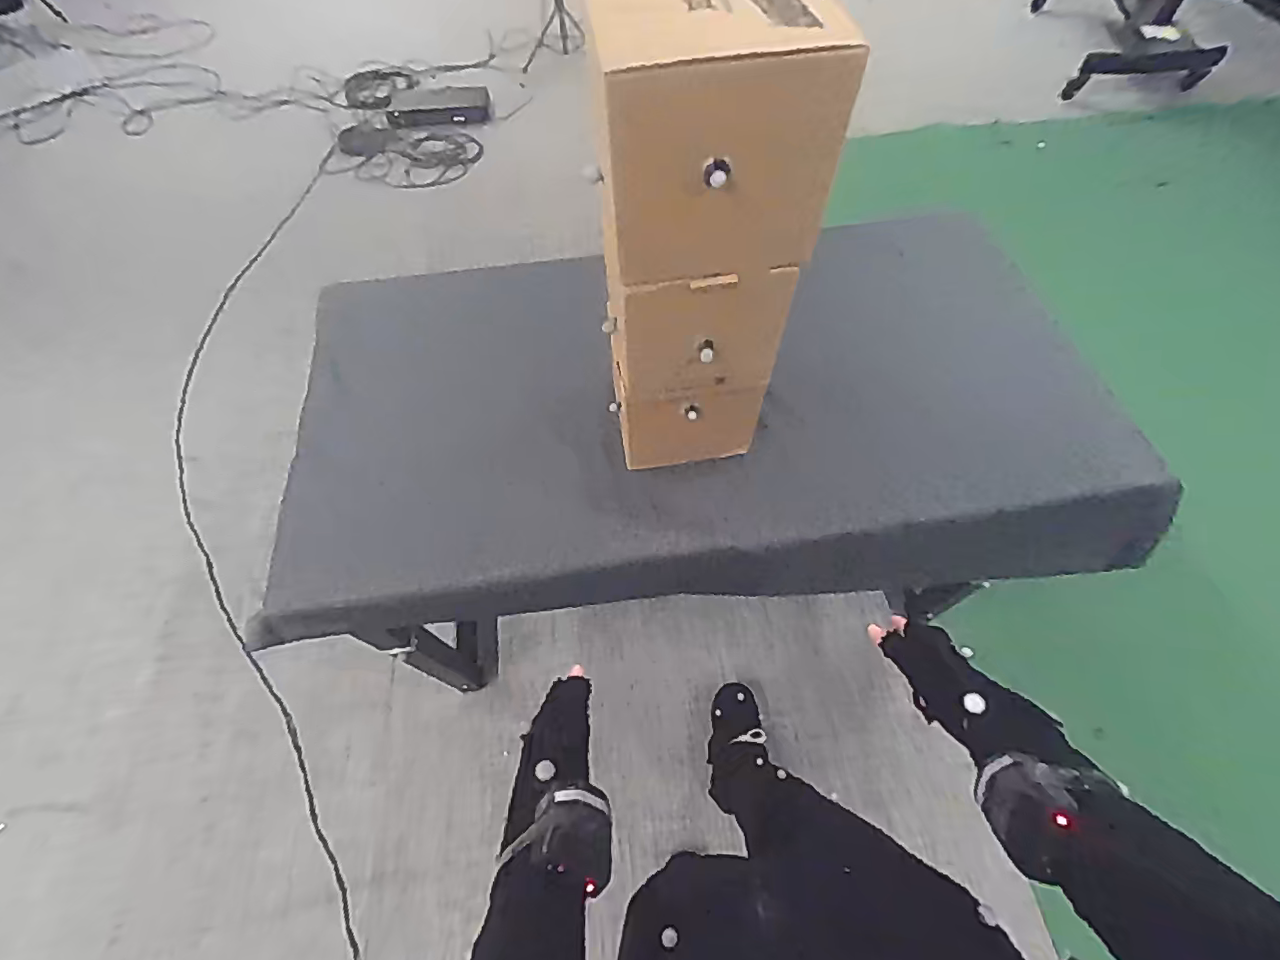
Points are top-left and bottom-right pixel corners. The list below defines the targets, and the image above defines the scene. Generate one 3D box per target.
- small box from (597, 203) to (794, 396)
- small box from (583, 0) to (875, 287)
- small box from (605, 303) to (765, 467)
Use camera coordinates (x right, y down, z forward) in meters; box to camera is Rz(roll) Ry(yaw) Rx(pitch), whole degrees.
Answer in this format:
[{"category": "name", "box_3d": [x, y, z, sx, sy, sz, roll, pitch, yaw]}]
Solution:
[{"category": "small box", "box_3d": [0.050, -0.207, 0.590, 0.168, 0.176, 0.179, -9, 61, -3]}, {"category": "small box", "box_3d": [0.052, -0.286, 0.445, 0.179, 0.176, 0.168, -10, 61, -5]}, {"category": "small box", "box_3d": [0.052, -0.131, 0.735, 0.179, 0.176, 0.168, -8, 61, -4]}]
